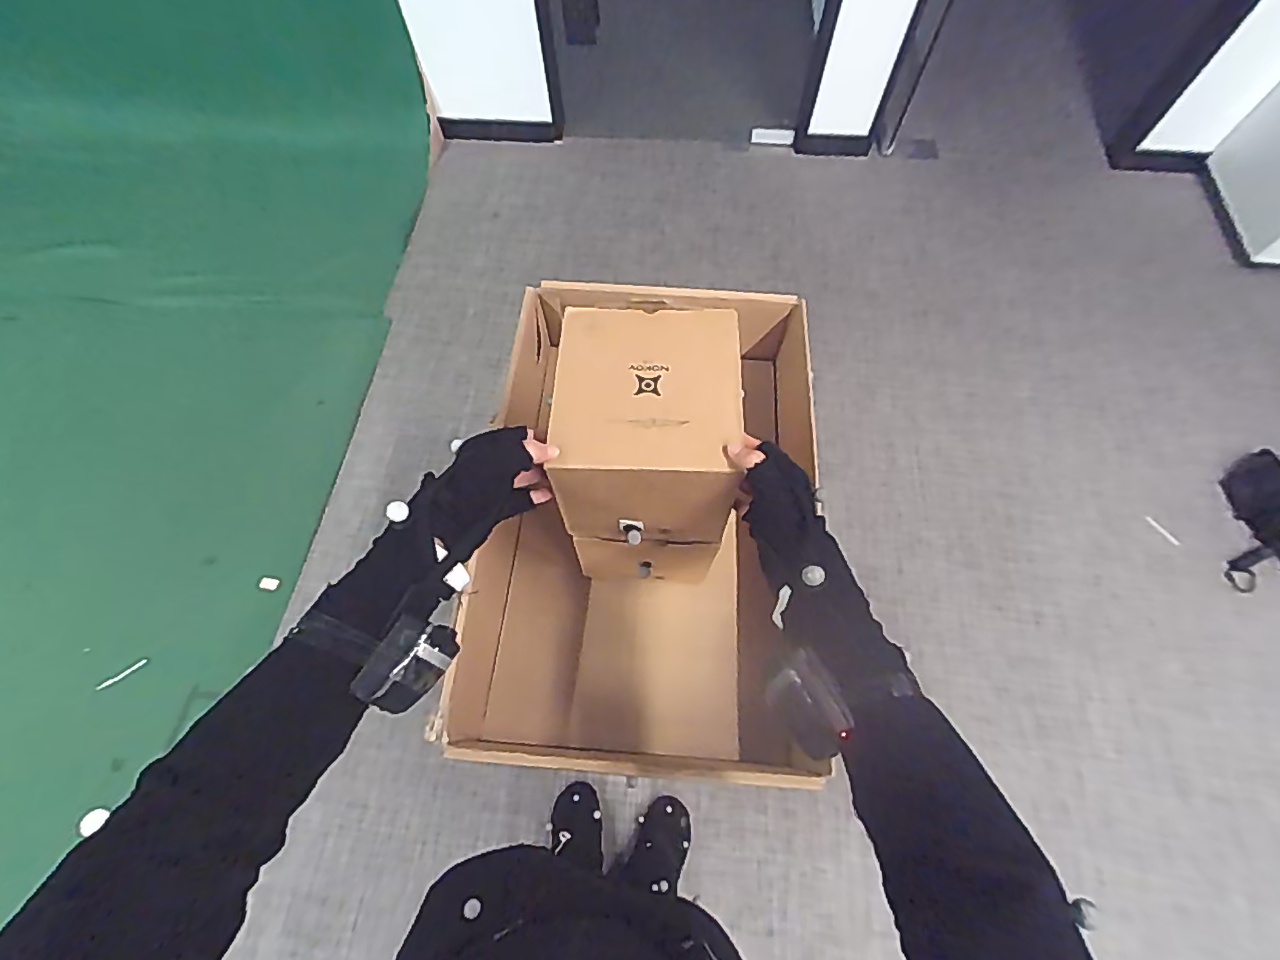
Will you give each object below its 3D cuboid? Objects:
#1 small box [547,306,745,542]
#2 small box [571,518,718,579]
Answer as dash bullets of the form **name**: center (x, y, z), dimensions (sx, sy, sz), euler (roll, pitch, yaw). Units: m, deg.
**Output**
- **small box**: center (0.009, -0.050, 0.547), dimensions (0.168, 0.176, 0.179), euler (1, 65, 2)
- **small box**: center (0.011, 0.023, 0.696), dimensions (0.168, 0.176, 0.179), euler (4, 66, 1)
